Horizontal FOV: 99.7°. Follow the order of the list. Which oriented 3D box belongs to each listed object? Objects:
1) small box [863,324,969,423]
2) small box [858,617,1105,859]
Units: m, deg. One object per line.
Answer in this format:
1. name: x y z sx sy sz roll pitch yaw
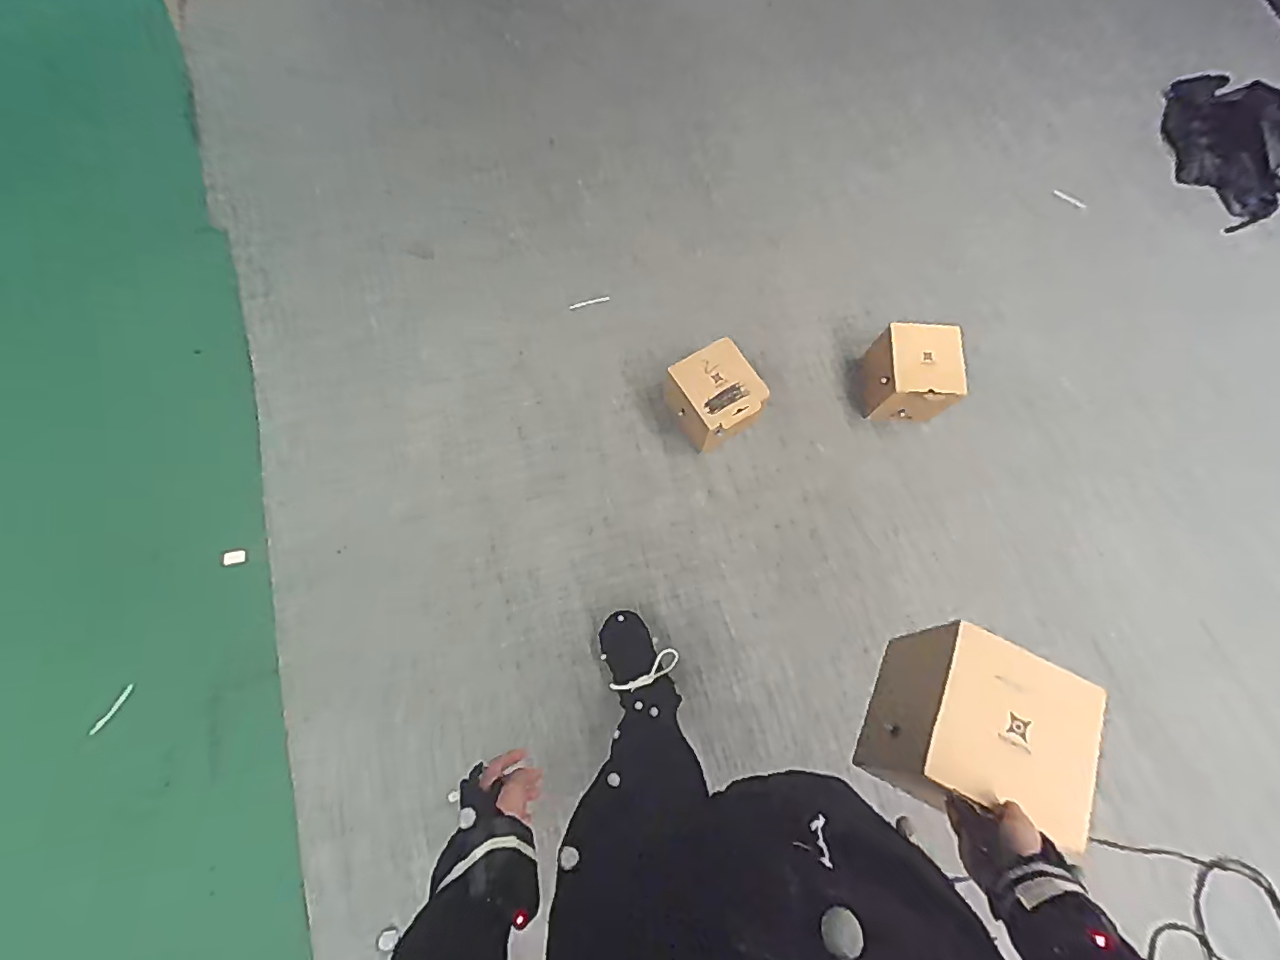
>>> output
1. small box: 0.653 -0.252 1.301 0.168 0.176 0.179 3 75 -1
2. small box: 0.378 0.287 0.625 0.168 0.176 0.179 26 66 7
